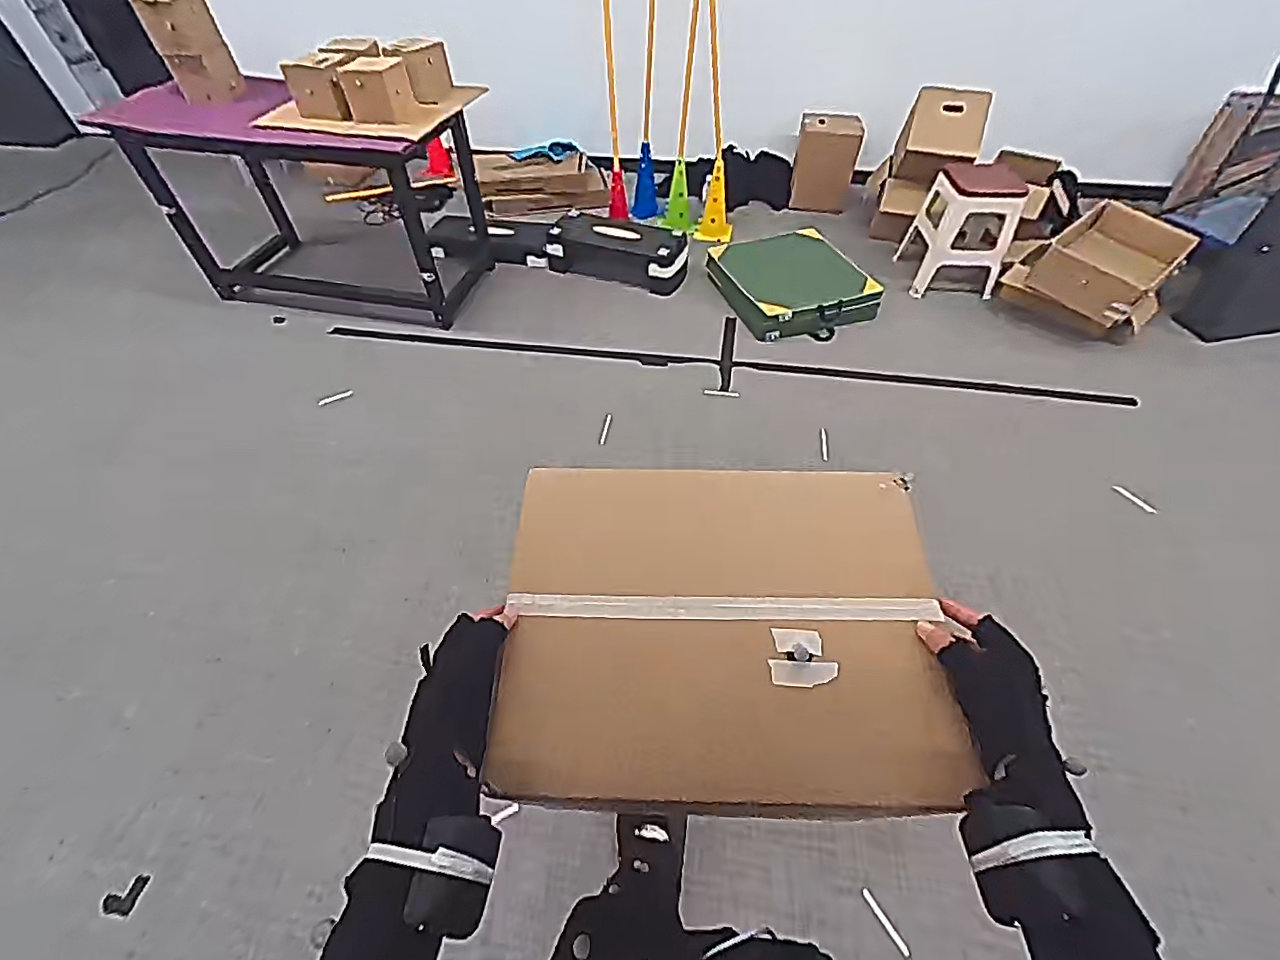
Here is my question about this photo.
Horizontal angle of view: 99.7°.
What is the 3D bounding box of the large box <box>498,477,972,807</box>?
[{"bbox_3d":[0.080,0.207,0.652,0.408,0.320,0.320,1,58,2],"label":"large box"}]
